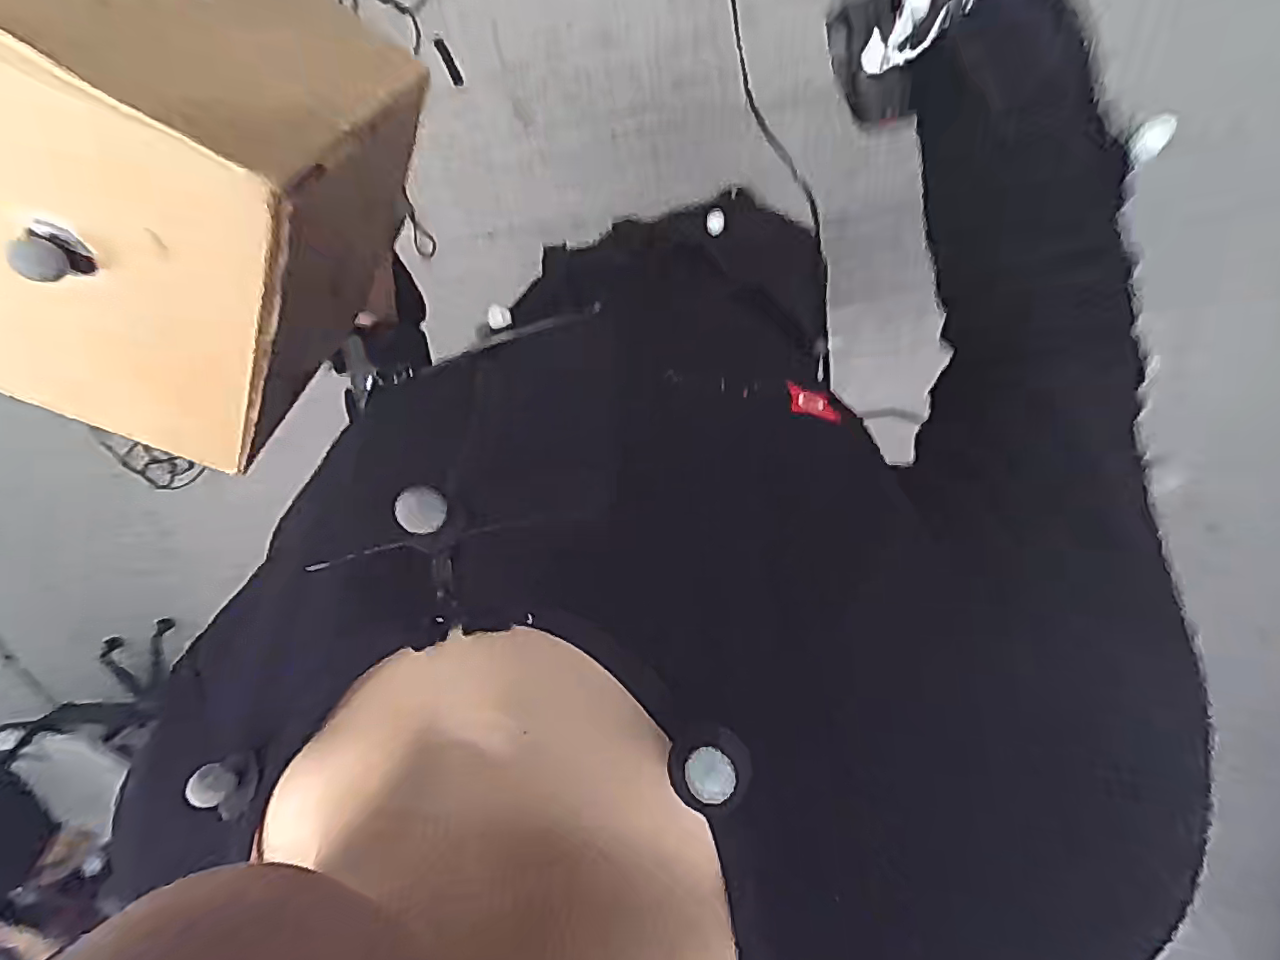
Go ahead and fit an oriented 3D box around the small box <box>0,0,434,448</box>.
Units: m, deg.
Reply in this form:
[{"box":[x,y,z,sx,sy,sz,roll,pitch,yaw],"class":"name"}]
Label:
[{"box":[-0.225,-0.151,0.256,0.176,0.168,0.179,25,135,-23],"class":"small box"}]
